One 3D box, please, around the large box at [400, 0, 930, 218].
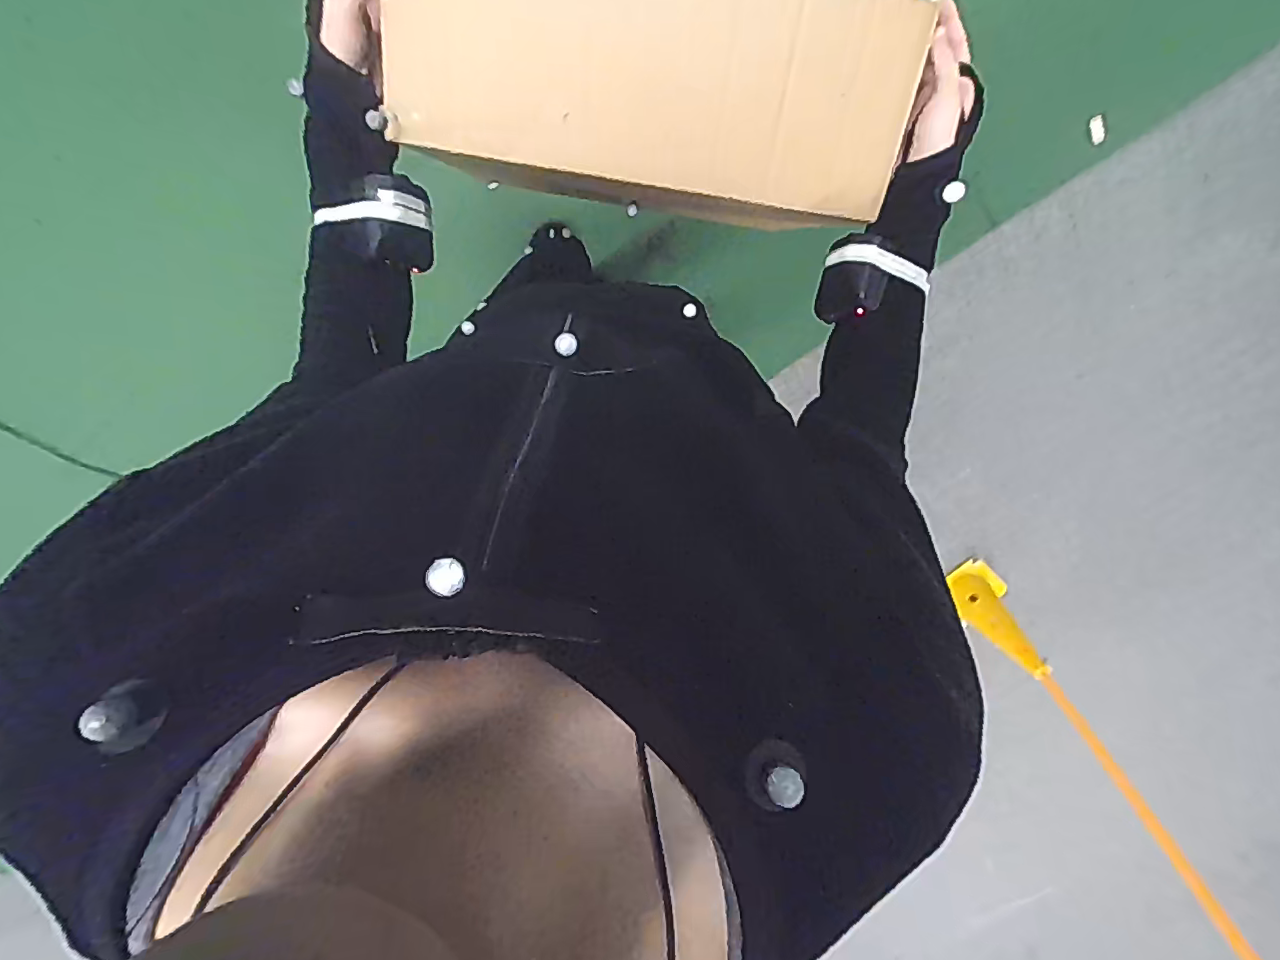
[{"bbox_3d":[0.023,-0.453,0.528,0.408,0.320,0.320,8,113,-6],"label":"large box"}]
